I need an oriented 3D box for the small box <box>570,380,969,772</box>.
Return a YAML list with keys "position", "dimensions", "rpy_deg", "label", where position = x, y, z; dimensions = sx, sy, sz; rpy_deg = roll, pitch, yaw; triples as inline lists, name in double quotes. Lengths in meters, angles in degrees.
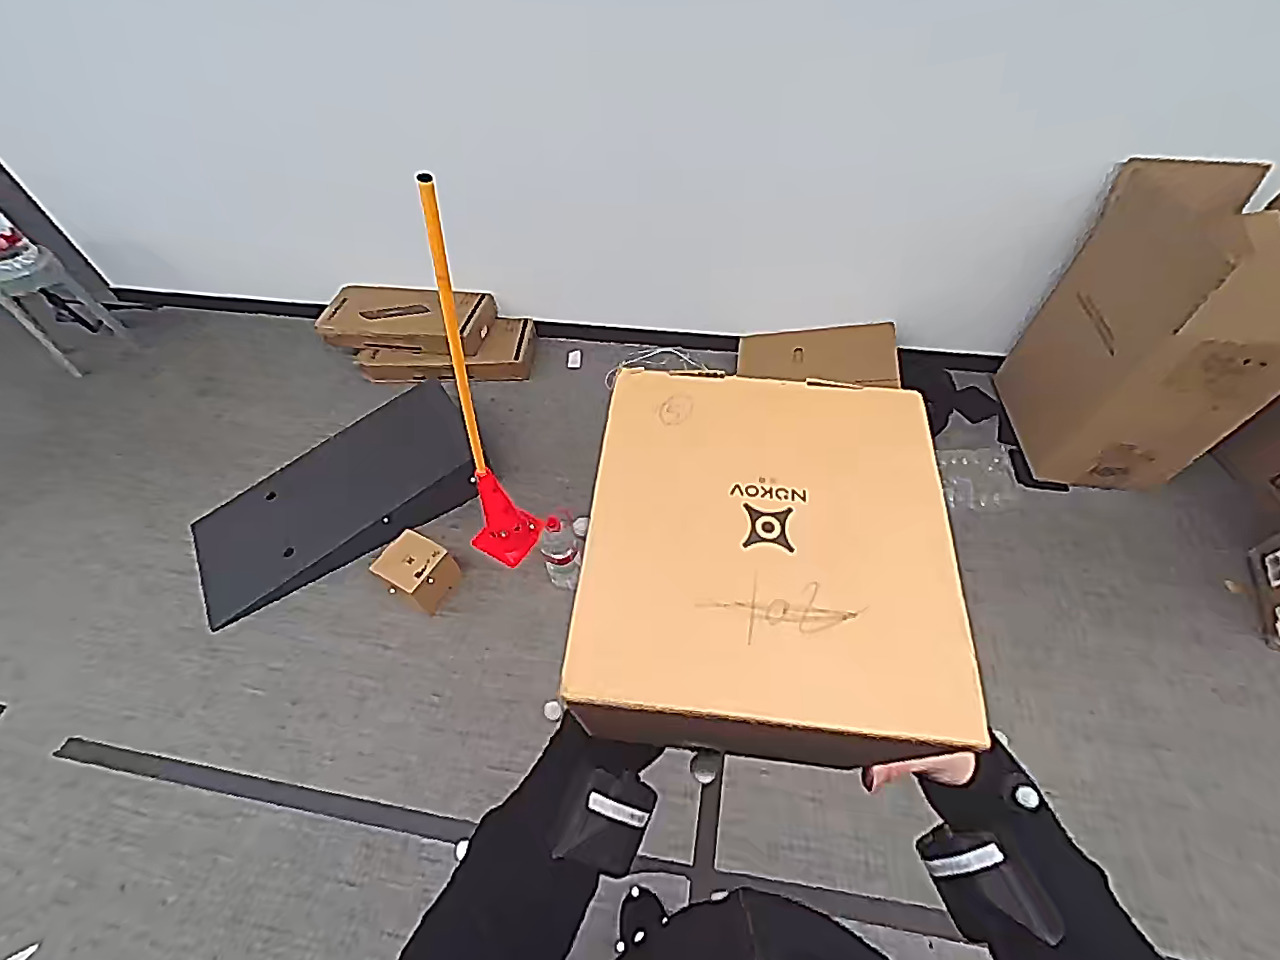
- position: [0.061, 0.066, 0.330]
  dimensions: [0.168, 0.176, 0.179]
  rpy_deg: [6, 60, 4]
  label: "small box"
